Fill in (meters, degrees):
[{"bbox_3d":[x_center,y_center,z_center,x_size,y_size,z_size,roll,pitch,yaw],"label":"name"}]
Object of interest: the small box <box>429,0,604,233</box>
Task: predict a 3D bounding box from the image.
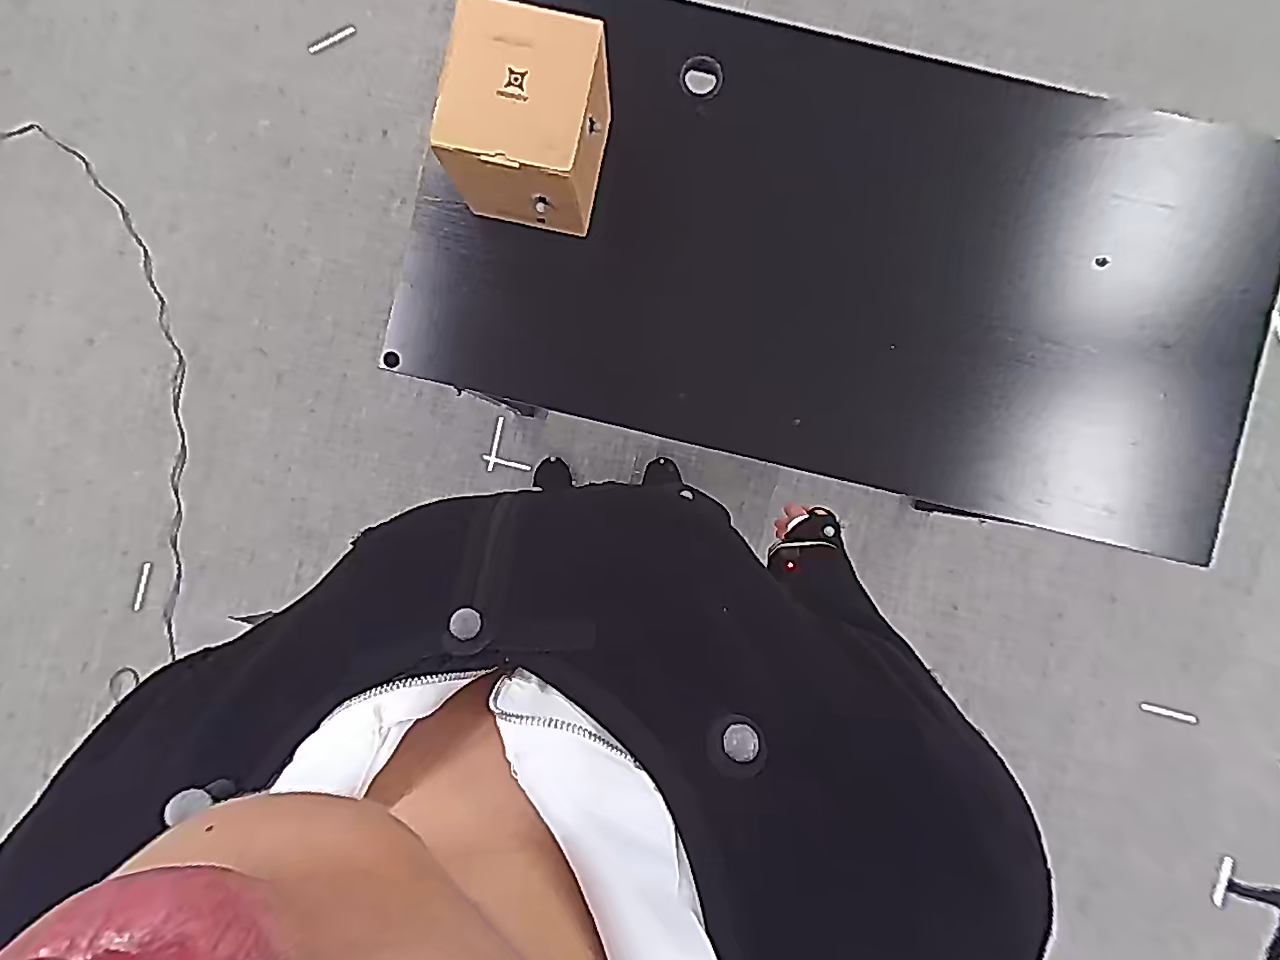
[{"bbox_3d":[-0.143,-0.444,0.689,0.168,0.176,0.179,12,90,-1],"label":"small box"}]
